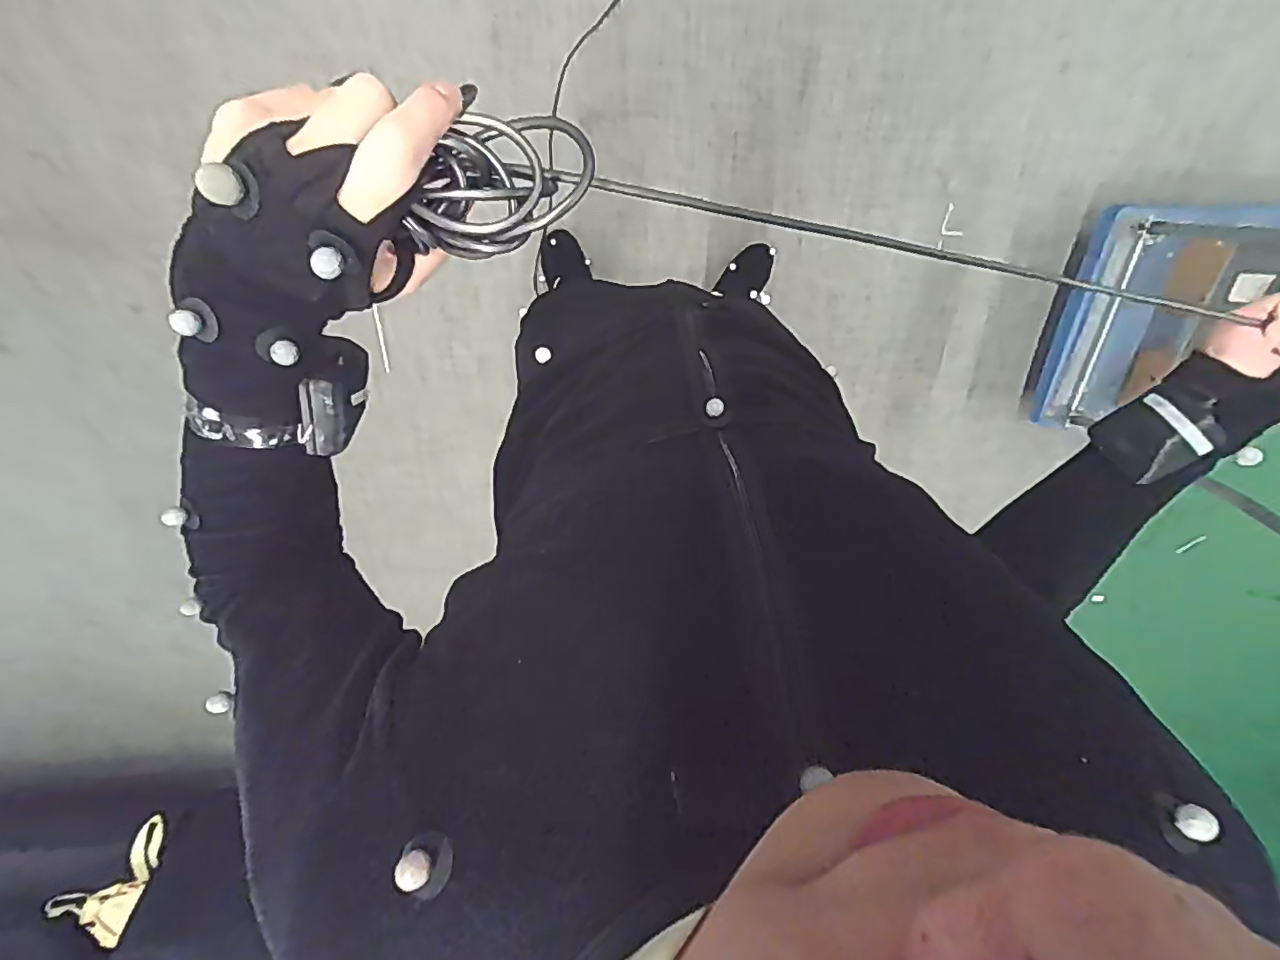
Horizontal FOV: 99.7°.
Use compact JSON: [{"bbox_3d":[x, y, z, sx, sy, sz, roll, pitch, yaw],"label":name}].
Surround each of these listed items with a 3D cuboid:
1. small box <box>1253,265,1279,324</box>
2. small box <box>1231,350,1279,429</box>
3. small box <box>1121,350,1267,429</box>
[{"bbox_3d":[1.714,-0.471,1.340,0.179,0.176,0.168,-4,119,-3],"label":"small box"},{"bbox_3d":[1.728,-0.249,1.457,0.179,0.176,0.168,-4,117,-2],"label":"small box"},{"bbox_3d":[1.459,-0.245,1.439,0.179,0.176,0.168,0,118,-4],"label":"small box"}]
